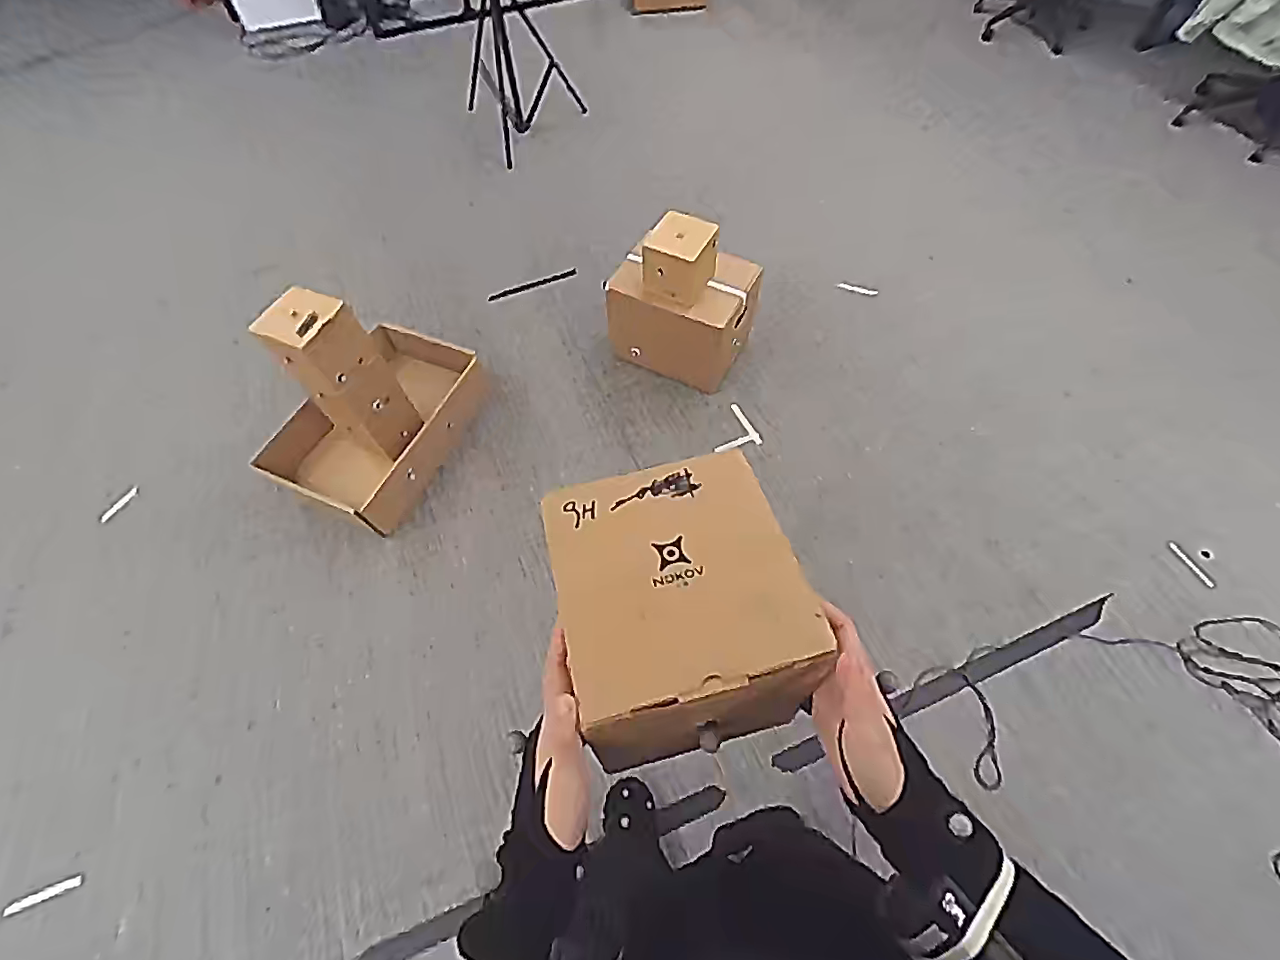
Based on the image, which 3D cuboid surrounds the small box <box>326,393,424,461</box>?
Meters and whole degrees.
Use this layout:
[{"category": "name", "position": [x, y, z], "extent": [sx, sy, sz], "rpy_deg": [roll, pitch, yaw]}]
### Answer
[{"category": "small box", "position": [-0.807, -0.183, 1.666], "extent": [0.179, 0.176, 0.168], "rpy_deg": [22, 64, 14]}]

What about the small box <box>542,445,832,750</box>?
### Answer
[{"category": "small box", "position": [0.025, 0.103, 0.439], "extent": [0.168, 0.176, 0.179], "rpy_deg": [-12, 54, -8]}]

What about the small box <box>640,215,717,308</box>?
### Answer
[{"category": "small box", "position": [0.115, -0.644, 1.603], "extent": [0.168, 0.176, 0.179], "rpy_deg": [25, 64, 15]}]

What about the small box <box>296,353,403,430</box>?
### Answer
[{"category": "small box", "position": [-0.814, -0.266, 1.526], "extent": [0.179, 0.176, 0.168], "rpy_deg": [21, 64, 13]}]

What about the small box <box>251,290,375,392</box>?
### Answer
[{"category": "small box", "position": [-0.824, -0.349, 1.385], "extent": [0.179, 0.176, 0.168], "rpy_deg": [20, 63, 14]}]
